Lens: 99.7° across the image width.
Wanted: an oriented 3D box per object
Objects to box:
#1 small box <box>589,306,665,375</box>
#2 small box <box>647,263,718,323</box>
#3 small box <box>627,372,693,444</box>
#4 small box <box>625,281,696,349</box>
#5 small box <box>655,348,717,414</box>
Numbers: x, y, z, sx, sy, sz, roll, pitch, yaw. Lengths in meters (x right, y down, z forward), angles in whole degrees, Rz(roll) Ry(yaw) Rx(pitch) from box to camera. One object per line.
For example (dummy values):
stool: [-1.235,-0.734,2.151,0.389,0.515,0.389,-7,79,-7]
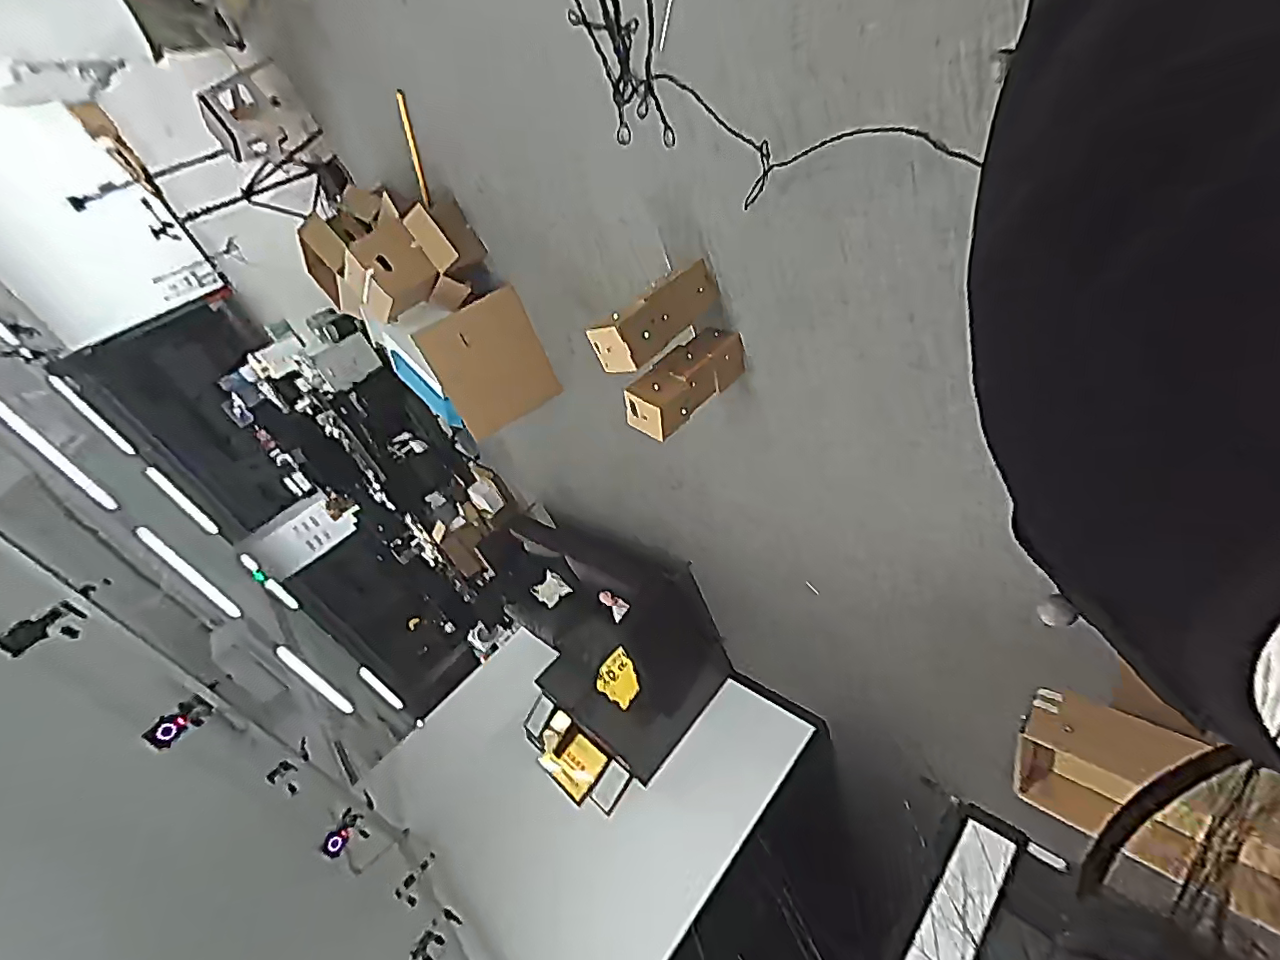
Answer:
small box: [-0.036,-0.477,1.850,0.179,0.176,0.168,9,135,49]
small box: [0.166,-0.681,2.005,0.179,0.176,0.168,8,134,53]
small box: [0.075,-0.269,1.974,0.179,0.176,0.168,32,149,29]
small box: [0.069,-0.575,1.927,0.168,0.176,0.179,1,129,55]
small box: [0.179,-0.371,2.051,0.168,0.176,0.179,30,147,34]
